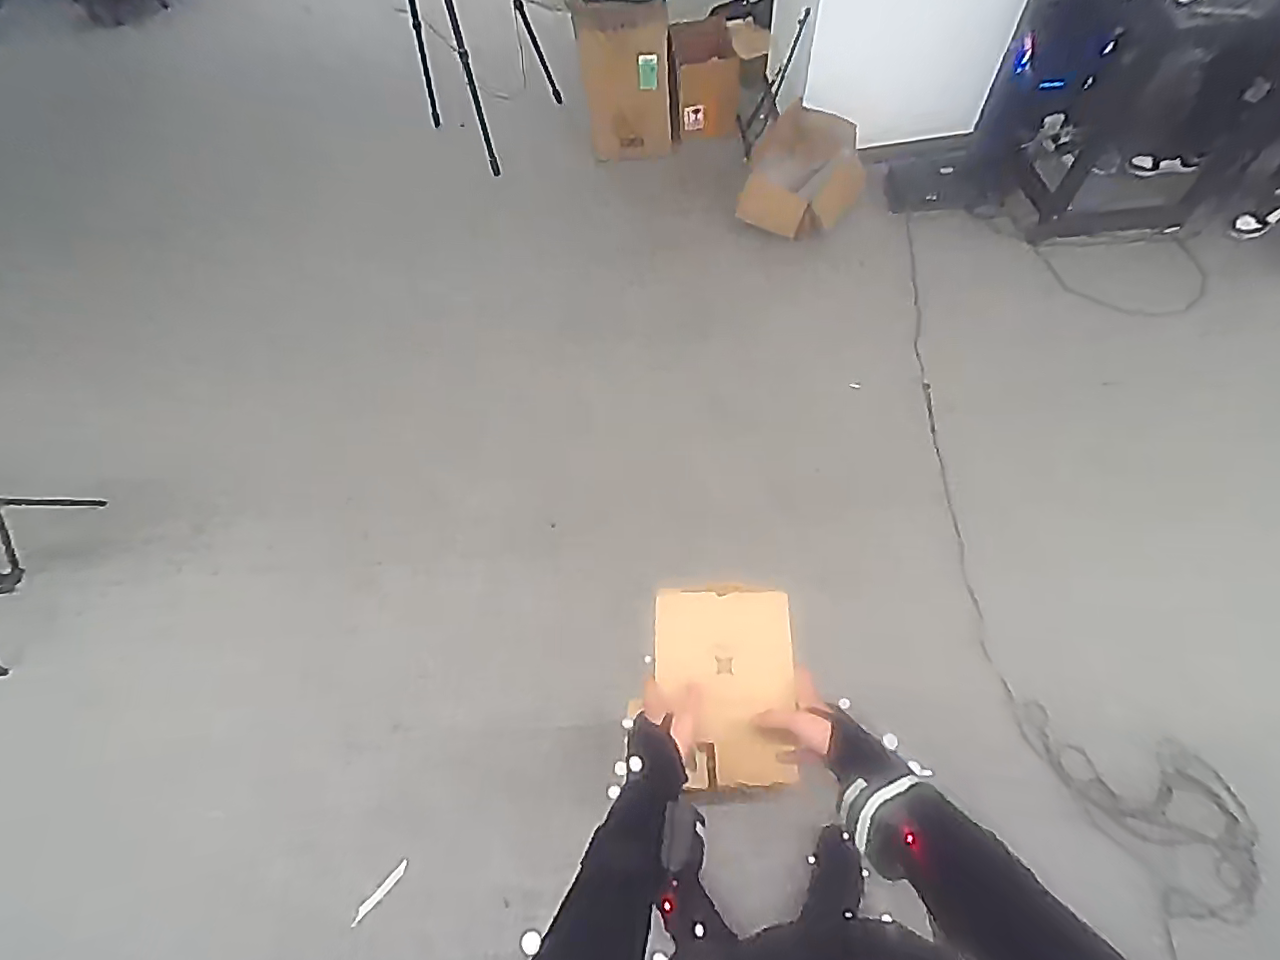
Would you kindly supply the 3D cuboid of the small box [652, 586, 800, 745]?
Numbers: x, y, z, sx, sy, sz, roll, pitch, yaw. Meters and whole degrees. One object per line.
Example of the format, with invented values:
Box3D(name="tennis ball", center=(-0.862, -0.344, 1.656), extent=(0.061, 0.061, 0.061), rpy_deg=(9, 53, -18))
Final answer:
Box3D(name="small box", center=(0.101, 0.247, 0.713), extent=(0.168, 0.176, 0.179), rpy_deg=(1, 67, 1))
